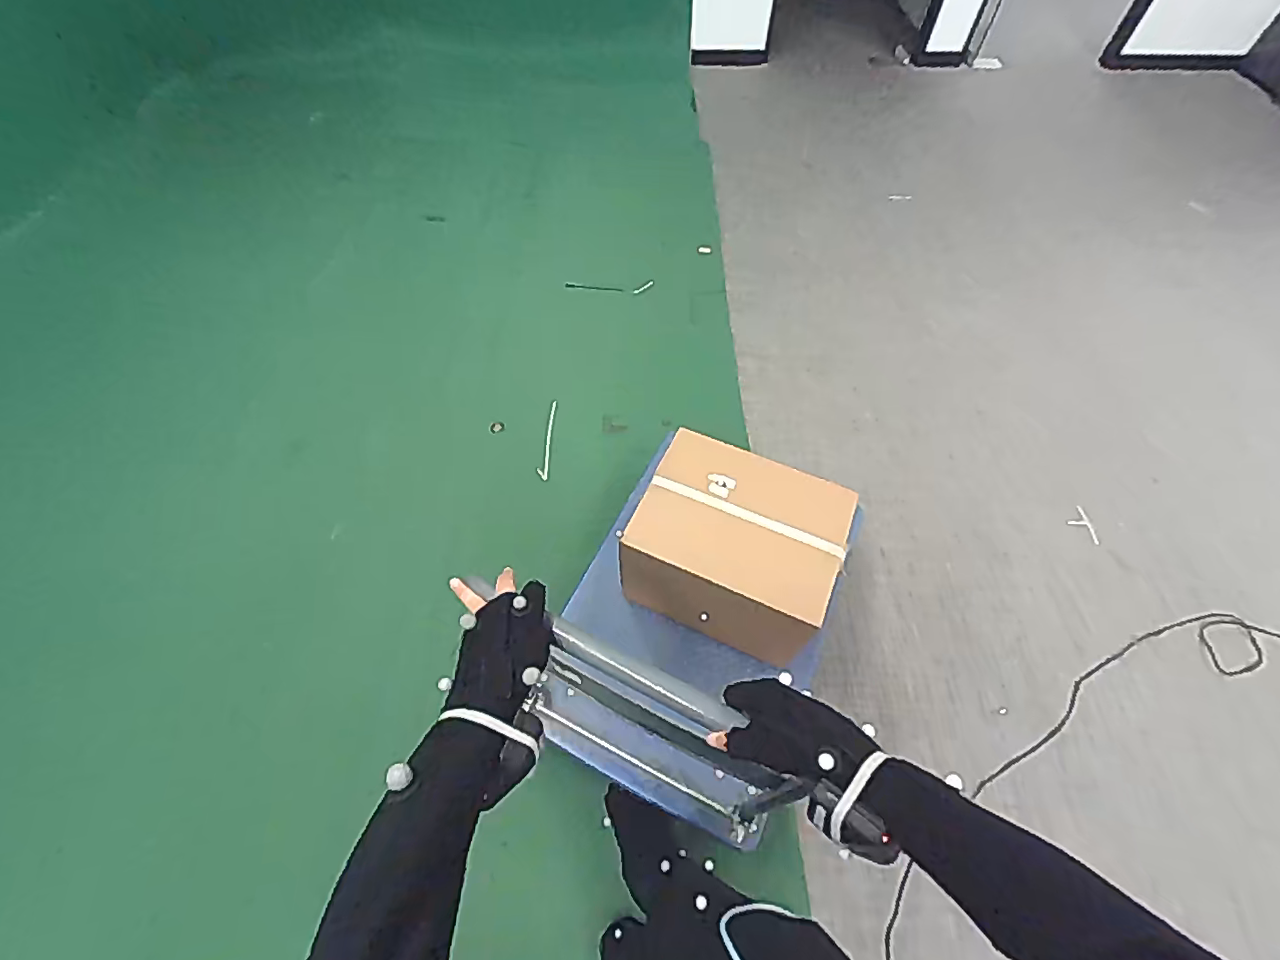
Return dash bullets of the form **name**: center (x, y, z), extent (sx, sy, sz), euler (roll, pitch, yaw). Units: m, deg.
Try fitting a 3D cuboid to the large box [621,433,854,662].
- **large box**: center (0.207, 0.157, 1.216), extent (0.408, 0.320, 0.320), euler (21, 60, 13)
